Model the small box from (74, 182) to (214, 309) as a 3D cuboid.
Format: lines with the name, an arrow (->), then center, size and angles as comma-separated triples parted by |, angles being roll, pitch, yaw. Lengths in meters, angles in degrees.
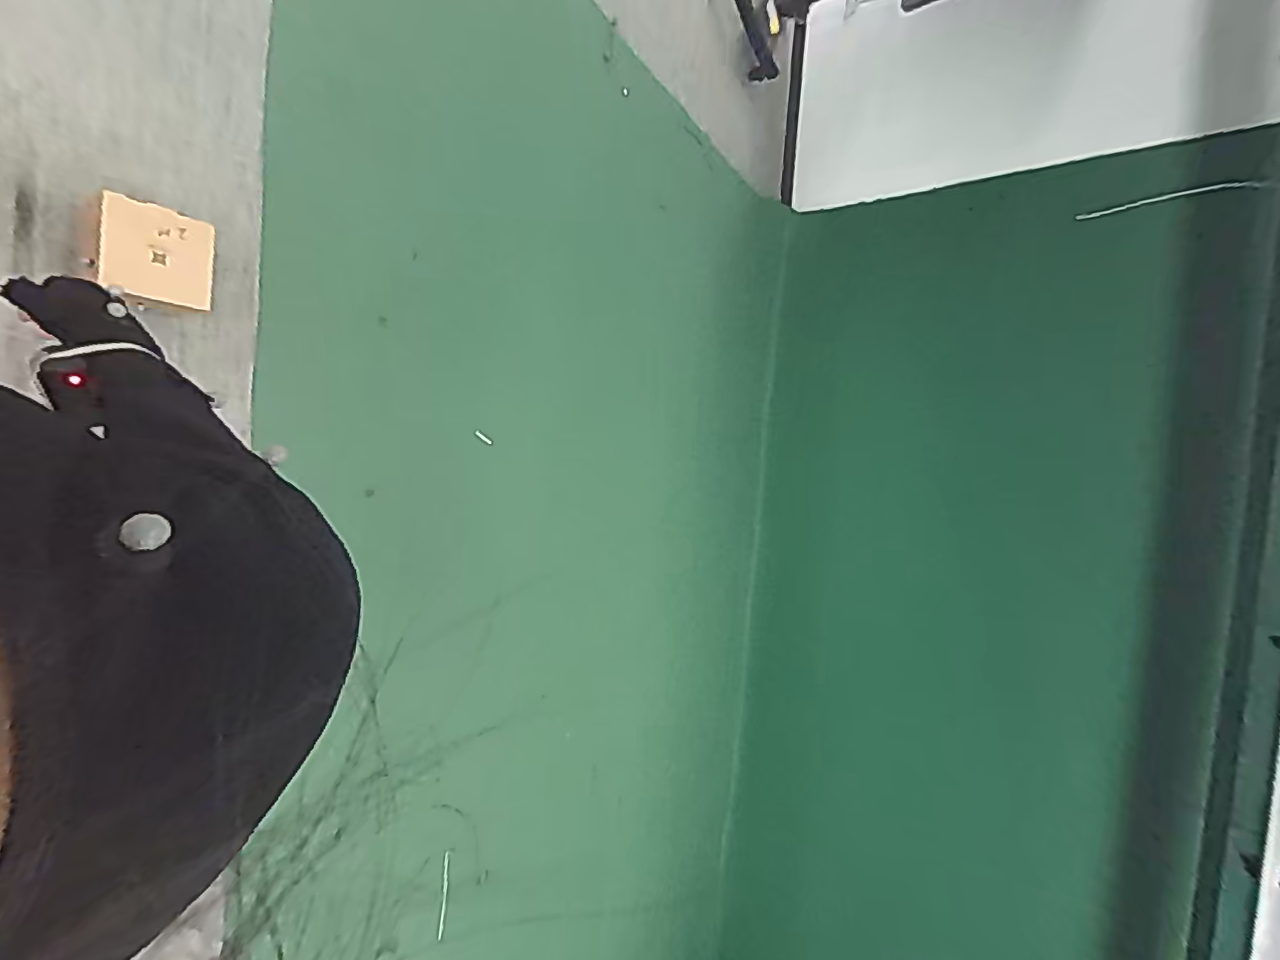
small box -> -0.973, -0.445, 1.060 | 0.168, 0.176, 0.179 | 2, 94, -56
